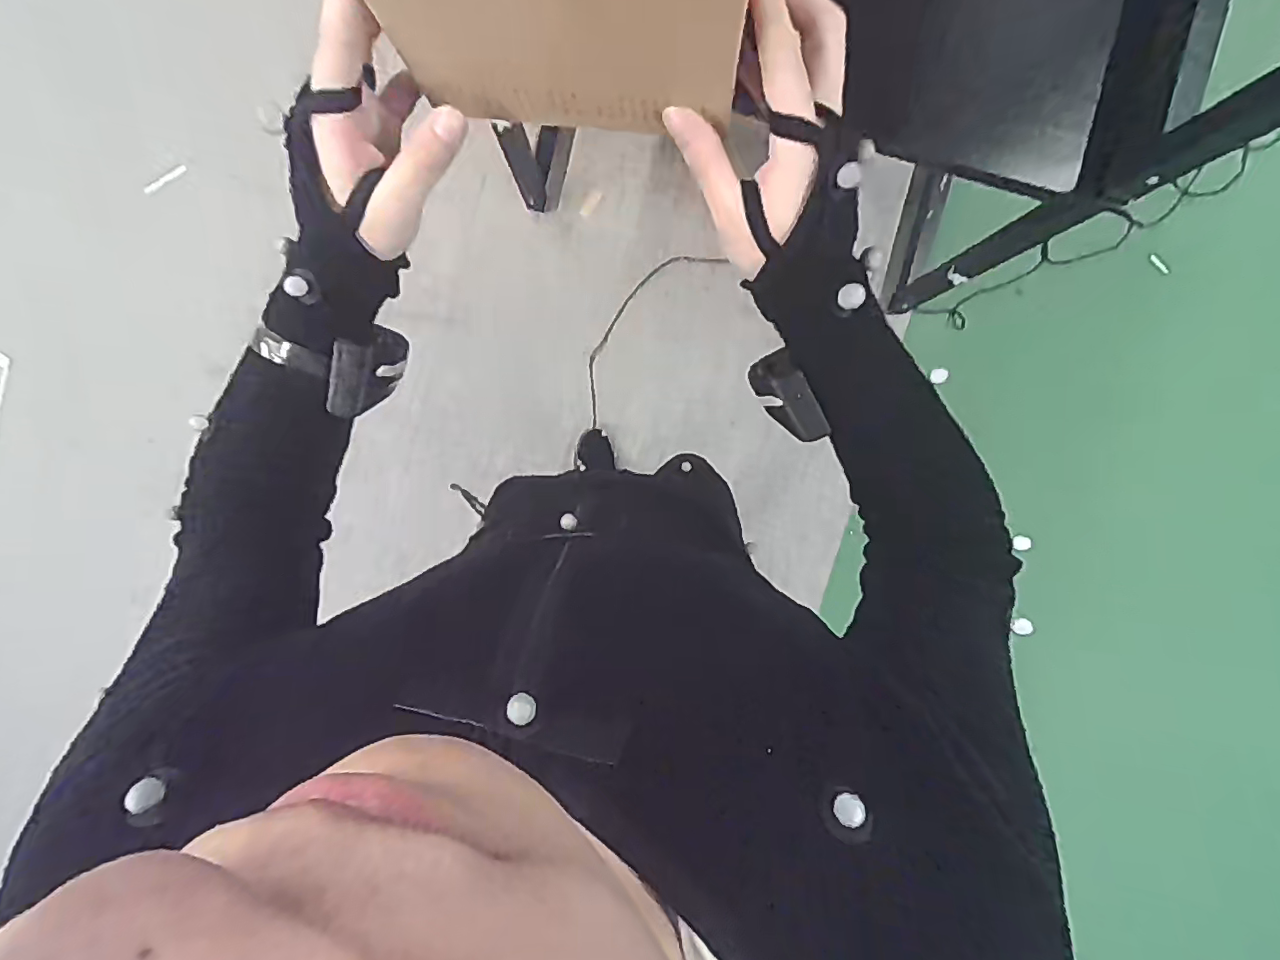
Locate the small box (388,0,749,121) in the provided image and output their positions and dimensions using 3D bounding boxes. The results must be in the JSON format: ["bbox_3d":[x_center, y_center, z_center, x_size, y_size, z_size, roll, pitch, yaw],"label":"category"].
[{"bbox_3d":[-0.030,-0.290,0.230,0.179,0.176,0.168,8,91,3],"label":"small box"}]
